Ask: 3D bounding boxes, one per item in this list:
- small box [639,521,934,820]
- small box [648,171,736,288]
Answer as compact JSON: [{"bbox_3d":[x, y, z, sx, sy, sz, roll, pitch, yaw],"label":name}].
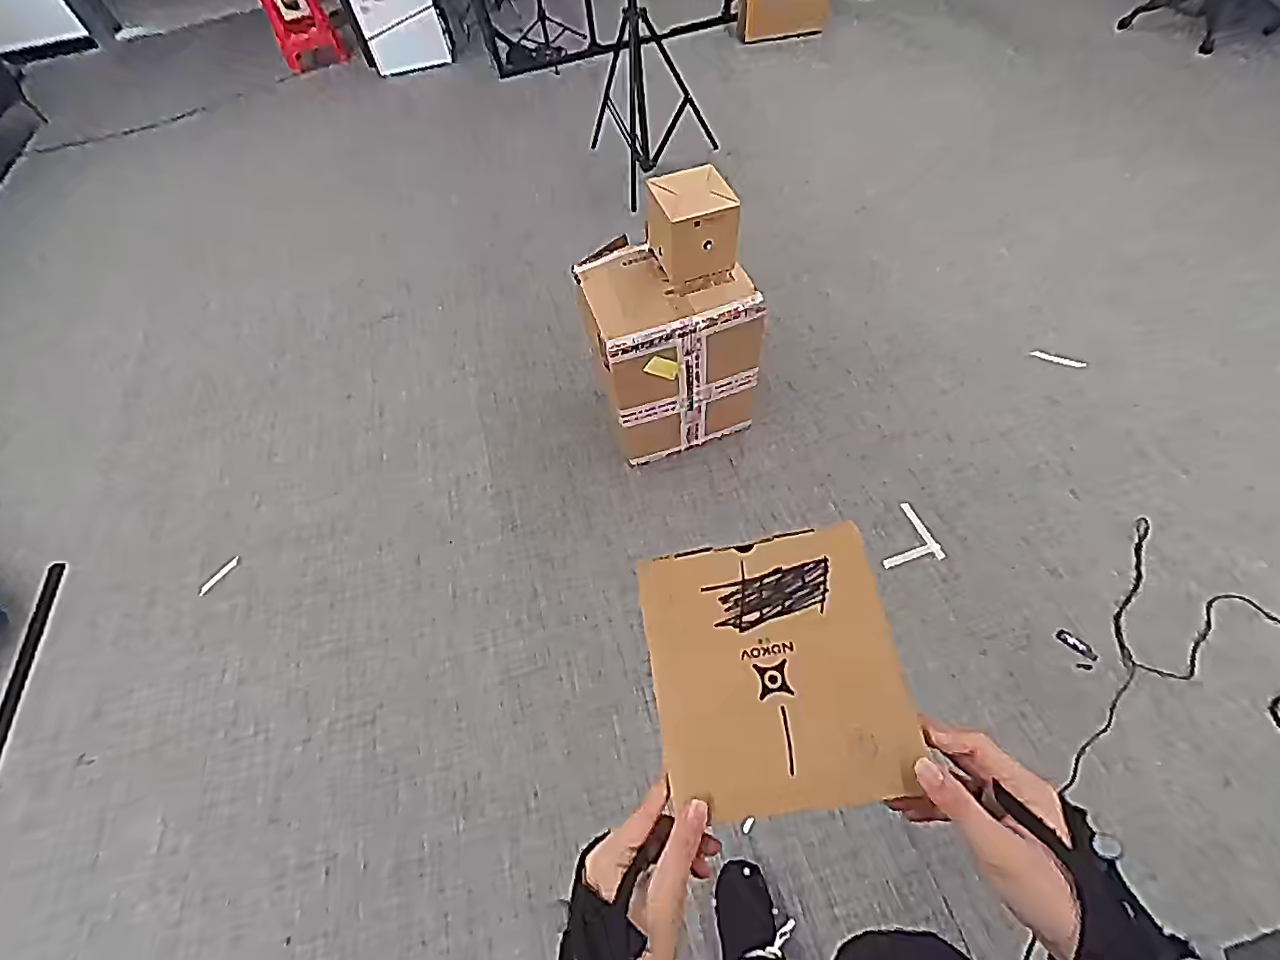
[{"bbox_3d":[0.101,0.149,0.442,0.168,0.176,0.179,-12,70,6],"label":"small box"},{"bbox_3d":[0.121,-0.597,1.287,0.168,0.176,0.179,-18,59,-7],"label":"small box"}]
